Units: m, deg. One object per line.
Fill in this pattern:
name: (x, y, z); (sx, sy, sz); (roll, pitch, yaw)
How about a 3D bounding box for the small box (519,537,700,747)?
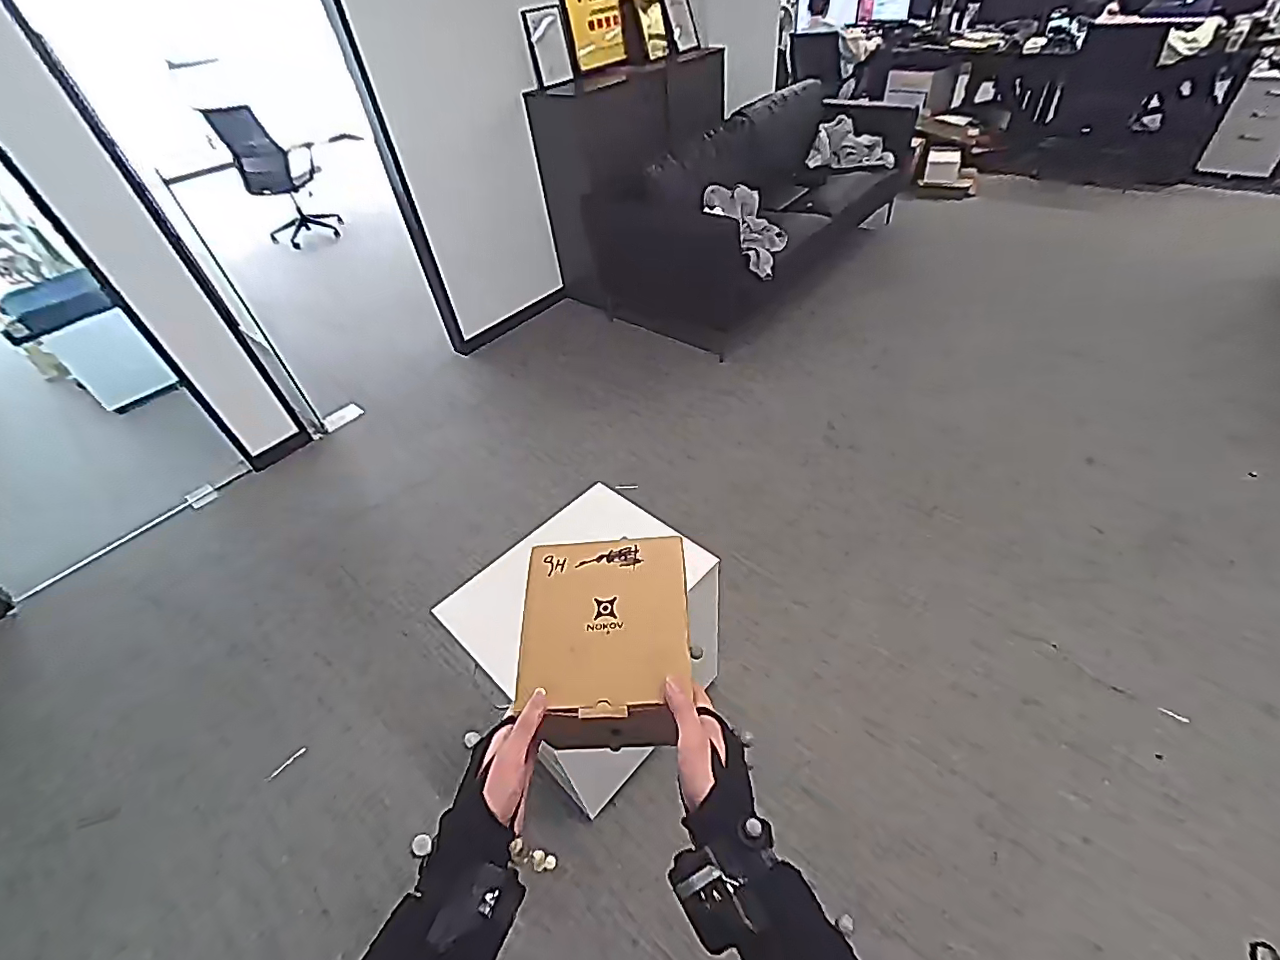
small box: (-0.026, 0.187, 0.601); (0.168, 0.176, 0.179); (-7, 52, 3)
